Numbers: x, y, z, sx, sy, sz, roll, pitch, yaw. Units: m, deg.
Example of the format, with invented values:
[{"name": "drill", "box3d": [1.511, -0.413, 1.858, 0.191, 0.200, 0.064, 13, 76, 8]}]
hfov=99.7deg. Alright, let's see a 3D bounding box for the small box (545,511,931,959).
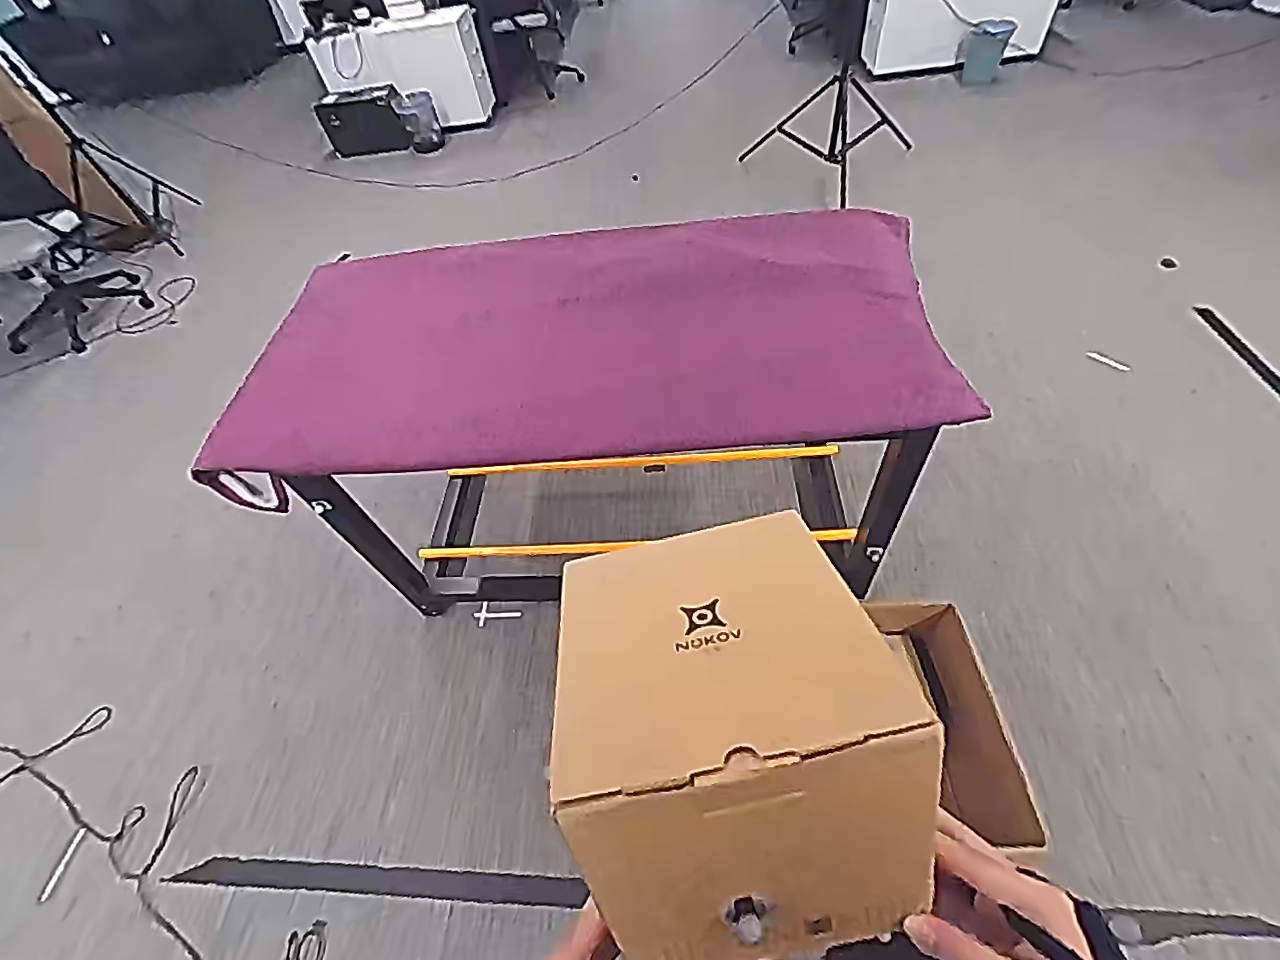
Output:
[{"name": "small box", "box3d": [0.049, 0.147, 0.333, 0.168, 0.176, 0.179, -14, 28, 1]}]
